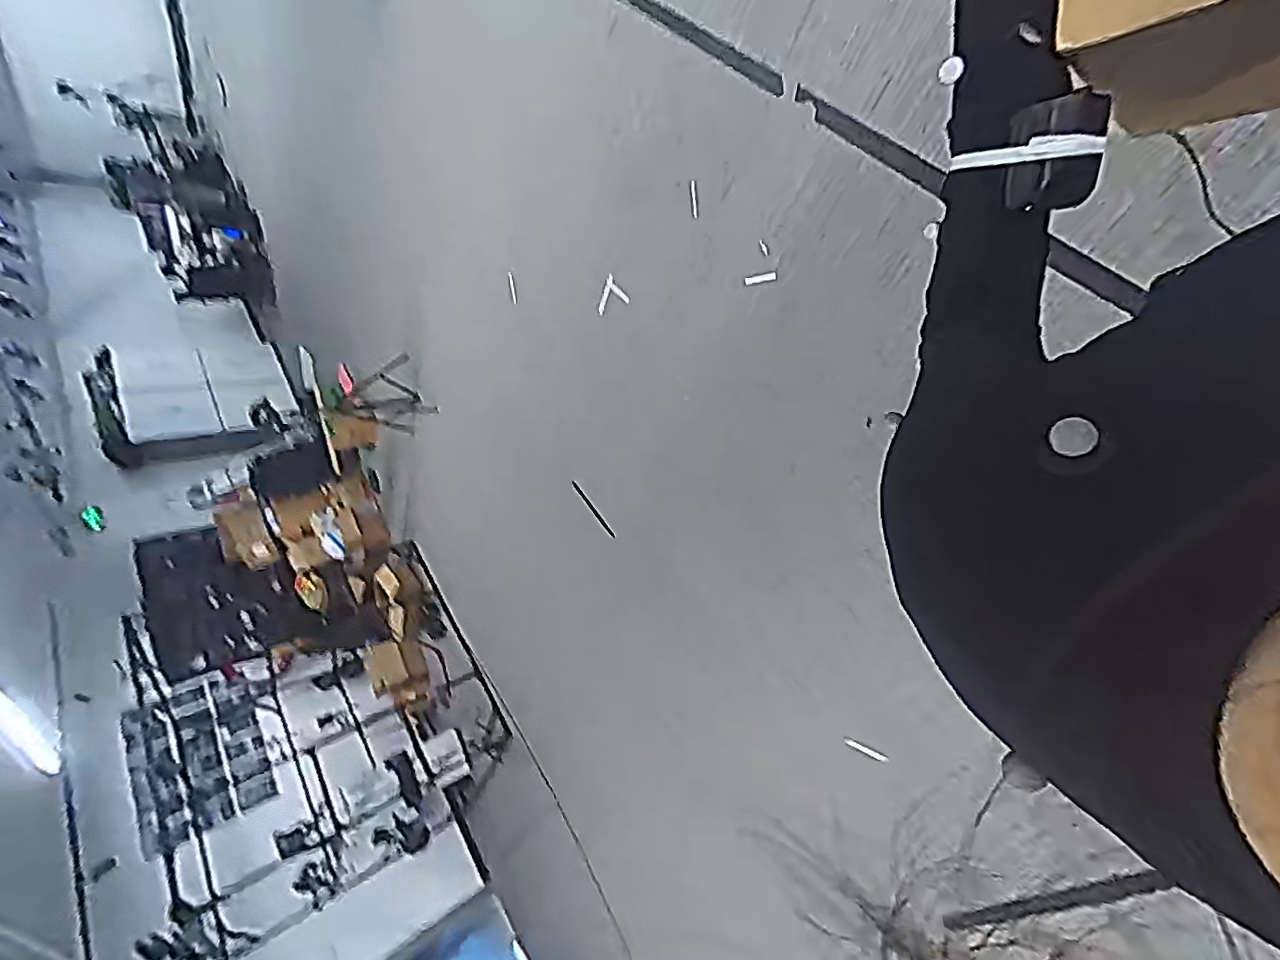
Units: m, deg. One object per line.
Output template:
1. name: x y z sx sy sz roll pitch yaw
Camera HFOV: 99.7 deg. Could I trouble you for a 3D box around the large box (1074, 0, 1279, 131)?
1. large box: 0.505 -0.422 0.258 0.408 0.320 0.320 14 114 45
